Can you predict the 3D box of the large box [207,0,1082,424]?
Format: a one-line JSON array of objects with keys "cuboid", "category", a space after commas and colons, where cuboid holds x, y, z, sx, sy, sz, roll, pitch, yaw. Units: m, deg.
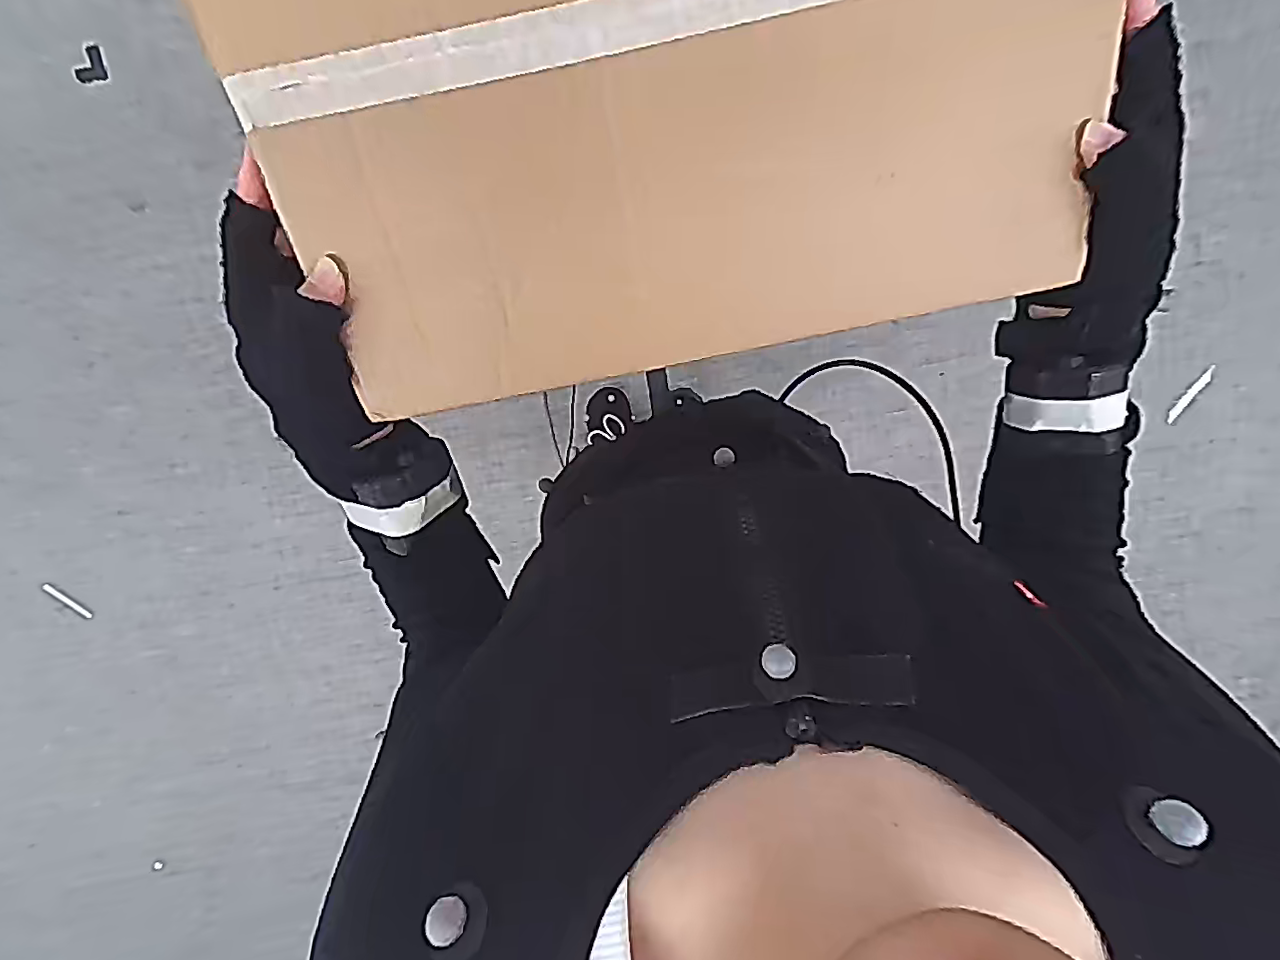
[{"cuboid": [0.005, -0.271, 0.386, 0.408, 0.320, 0.320, -11, 114, 2], "category": "large box"}]
